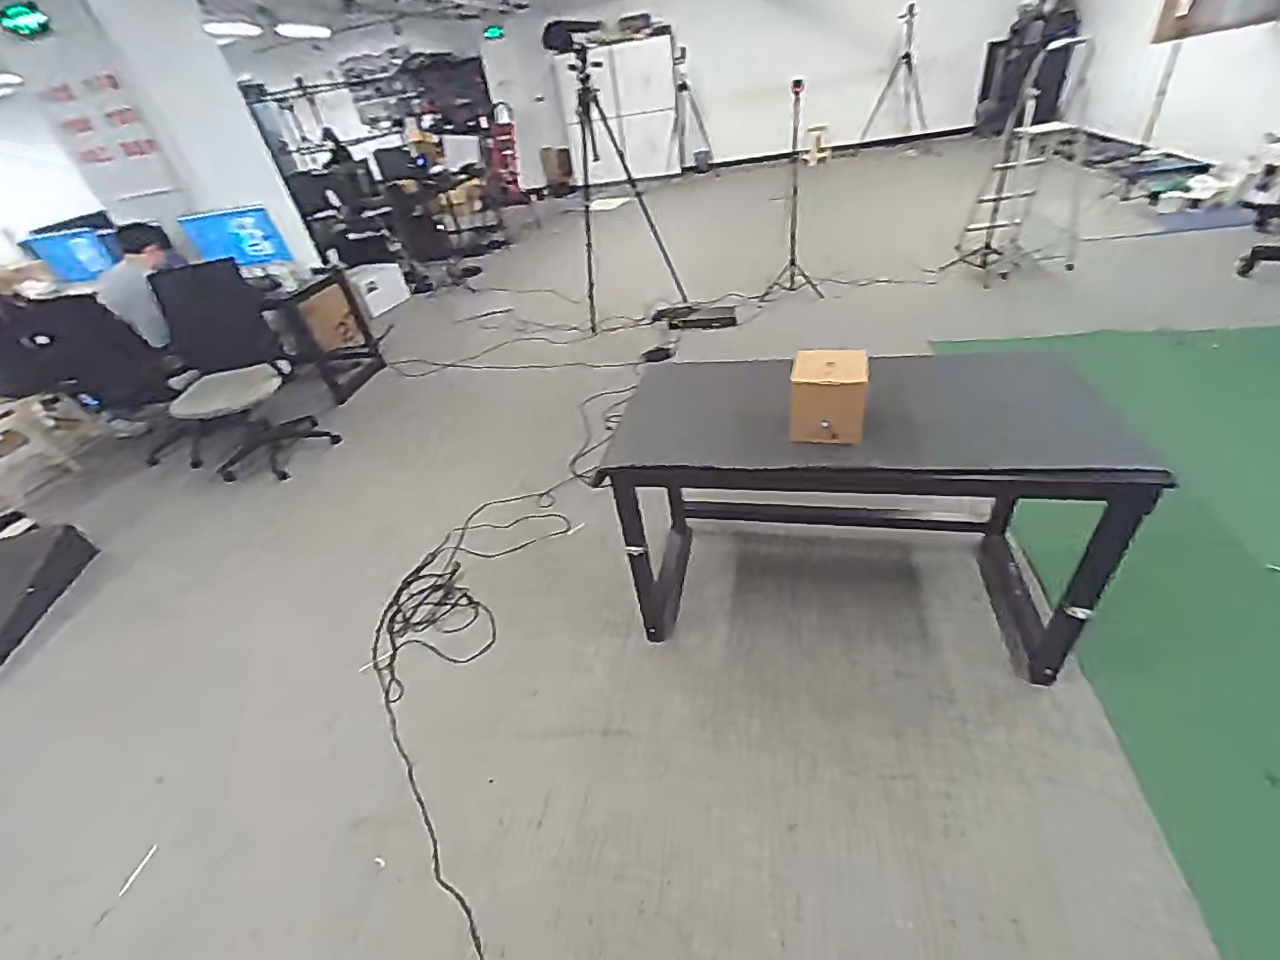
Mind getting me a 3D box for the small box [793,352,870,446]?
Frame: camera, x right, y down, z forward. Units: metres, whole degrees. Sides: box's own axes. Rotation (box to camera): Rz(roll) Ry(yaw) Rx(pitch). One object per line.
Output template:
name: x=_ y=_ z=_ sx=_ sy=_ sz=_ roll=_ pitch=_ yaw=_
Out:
small box: x=0.473 y=-0.204 z=1.340 sx=0.168 sy=0.176 sz=0.179 roll=4 pitch=38 yaw=20
